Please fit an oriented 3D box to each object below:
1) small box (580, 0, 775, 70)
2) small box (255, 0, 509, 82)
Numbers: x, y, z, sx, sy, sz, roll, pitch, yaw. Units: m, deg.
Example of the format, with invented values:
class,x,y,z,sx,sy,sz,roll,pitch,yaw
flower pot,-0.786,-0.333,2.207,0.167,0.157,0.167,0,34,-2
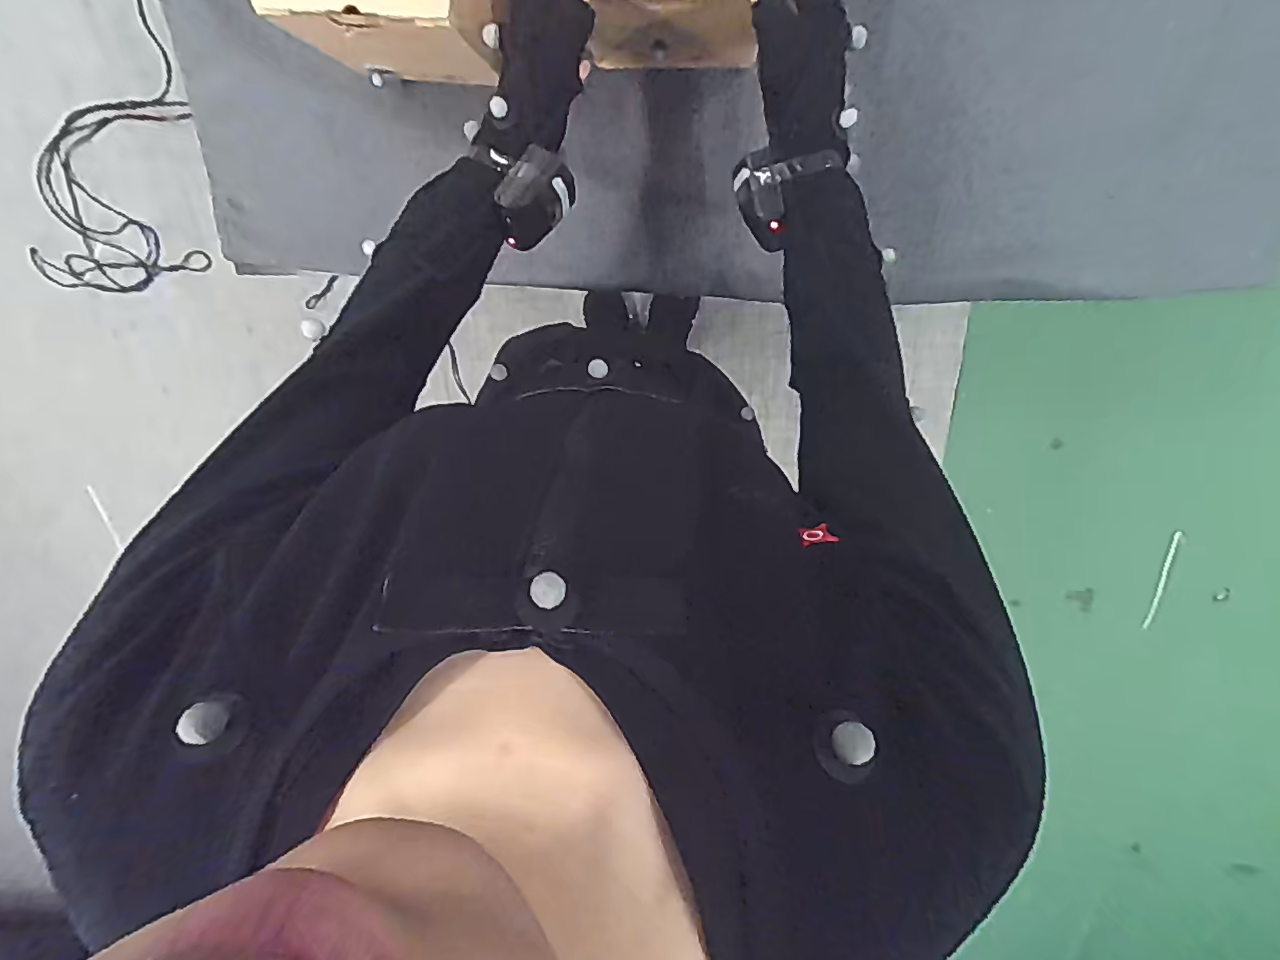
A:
class,x,y,z,sx,sy,sz,roll,pitch,yaw
small box,0.031,-0.485,0.462,0.168,0.176,0.179,2,112,3
small box,-0.218,-0.481,0.478,0.168,0.176,0.179,5,111,2
